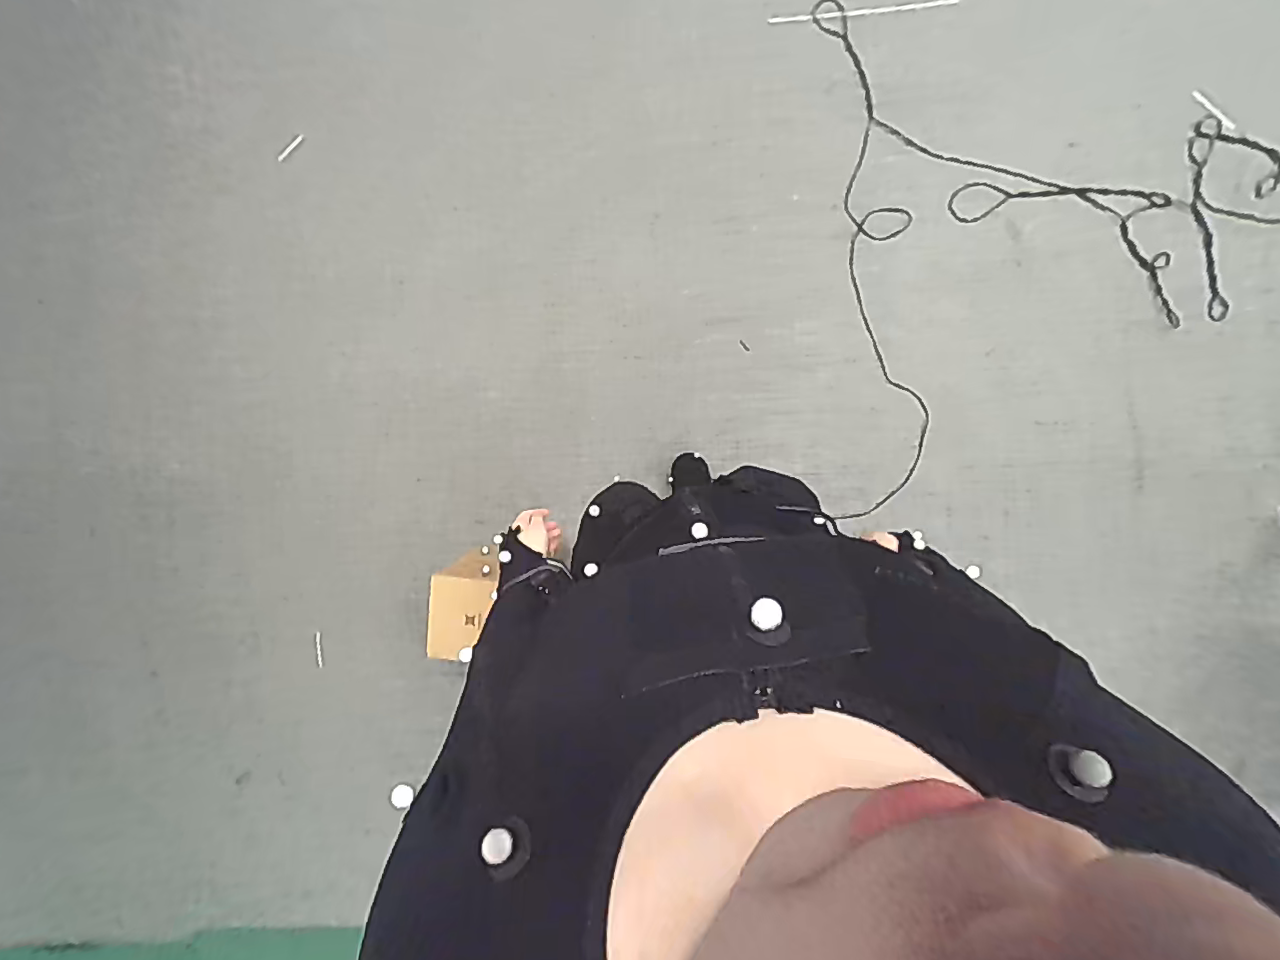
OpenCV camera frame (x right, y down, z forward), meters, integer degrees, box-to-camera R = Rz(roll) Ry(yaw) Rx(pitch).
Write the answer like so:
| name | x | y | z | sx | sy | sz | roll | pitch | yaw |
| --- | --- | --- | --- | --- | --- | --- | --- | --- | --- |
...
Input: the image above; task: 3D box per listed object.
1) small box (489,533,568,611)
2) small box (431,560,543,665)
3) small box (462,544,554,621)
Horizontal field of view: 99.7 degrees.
| name | x | y | z | sx | sy | sz | roll | pitch | yaw |
| --- | --- | --- | --- | --- | --- | --- | --- | --- | --- |
| small box | -0.298 | 0.240 | 1.449 | 0.179 | 0.176 | 0.168 | 3 | 94 | 1 |
| small box | -0.311 | 0.265 | 1.123 | 0.179 | 0.176 | 0.168 | 4 | 94 | 2 |
| small box | -0.309 | 0.250 | 1.285 | 0.179 | 0.176 | 0.168 | 1 | 95 | 2 |
